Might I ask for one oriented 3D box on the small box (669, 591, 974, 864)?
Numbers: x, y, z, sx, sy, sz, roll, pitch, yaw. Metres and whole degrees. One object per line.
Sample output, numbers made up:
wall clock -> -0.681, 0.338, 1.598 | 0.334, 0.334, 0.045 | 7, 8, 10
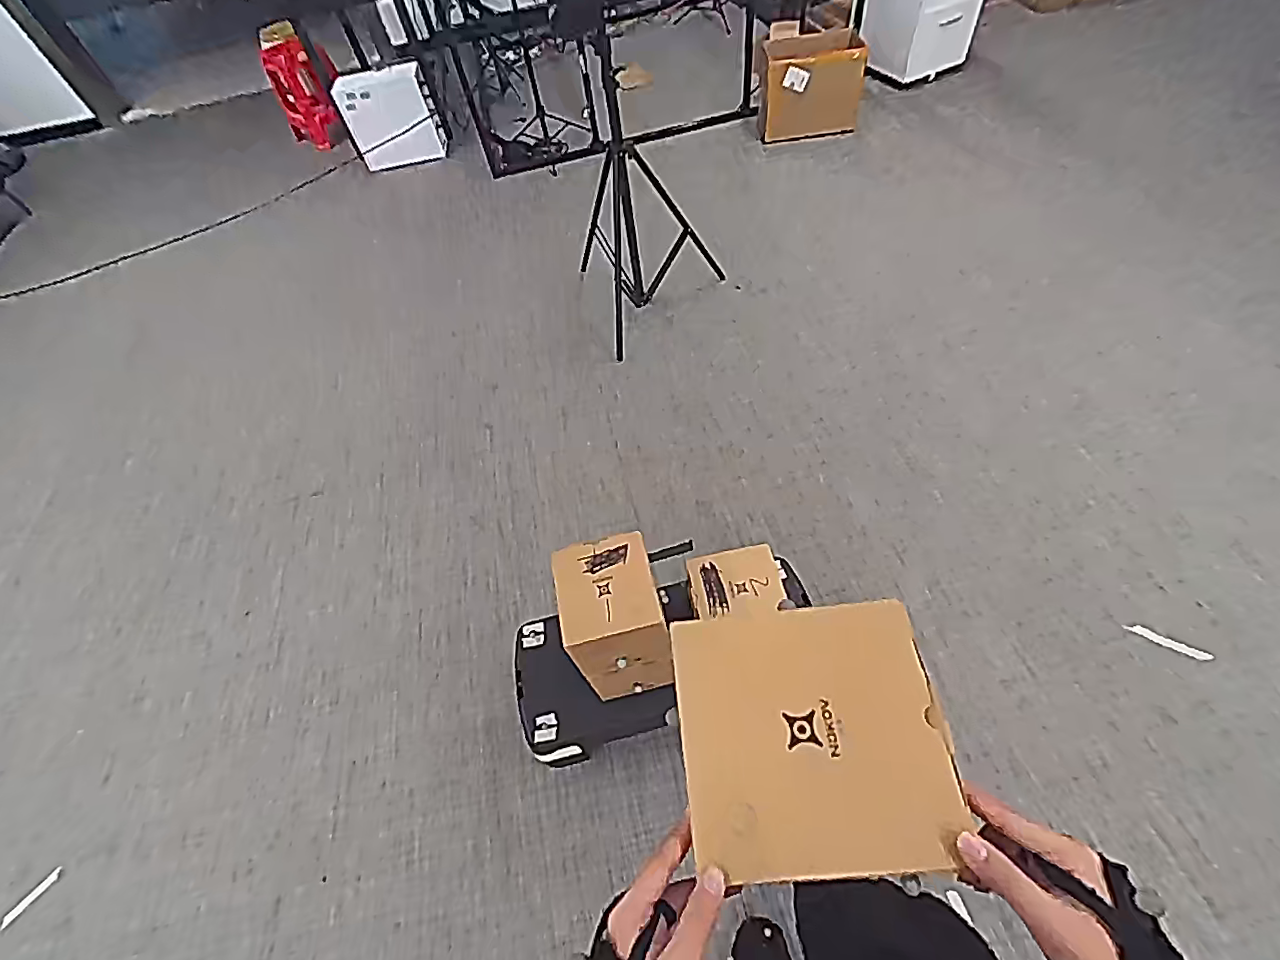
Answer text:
small box -> 0.123, 0.202, 0.441 | 0.179, 0.176, 0.168 | -7, 60, 4

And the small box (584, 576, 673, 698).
small box -> -0.027, 0.321, 1.101 | 0.168, 0.176, 0.179 | -14, 54, -1

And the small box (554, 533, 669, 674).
small box -> -0.049, 0.224, 0.970 | 0.168, 0.176, 0.179 | -14, 55, -1

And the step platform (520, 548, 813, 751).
step platform -> 0.071, 0.386, 1.254 | 0.684, 0.204, 0.286 | -15, 54, -2
